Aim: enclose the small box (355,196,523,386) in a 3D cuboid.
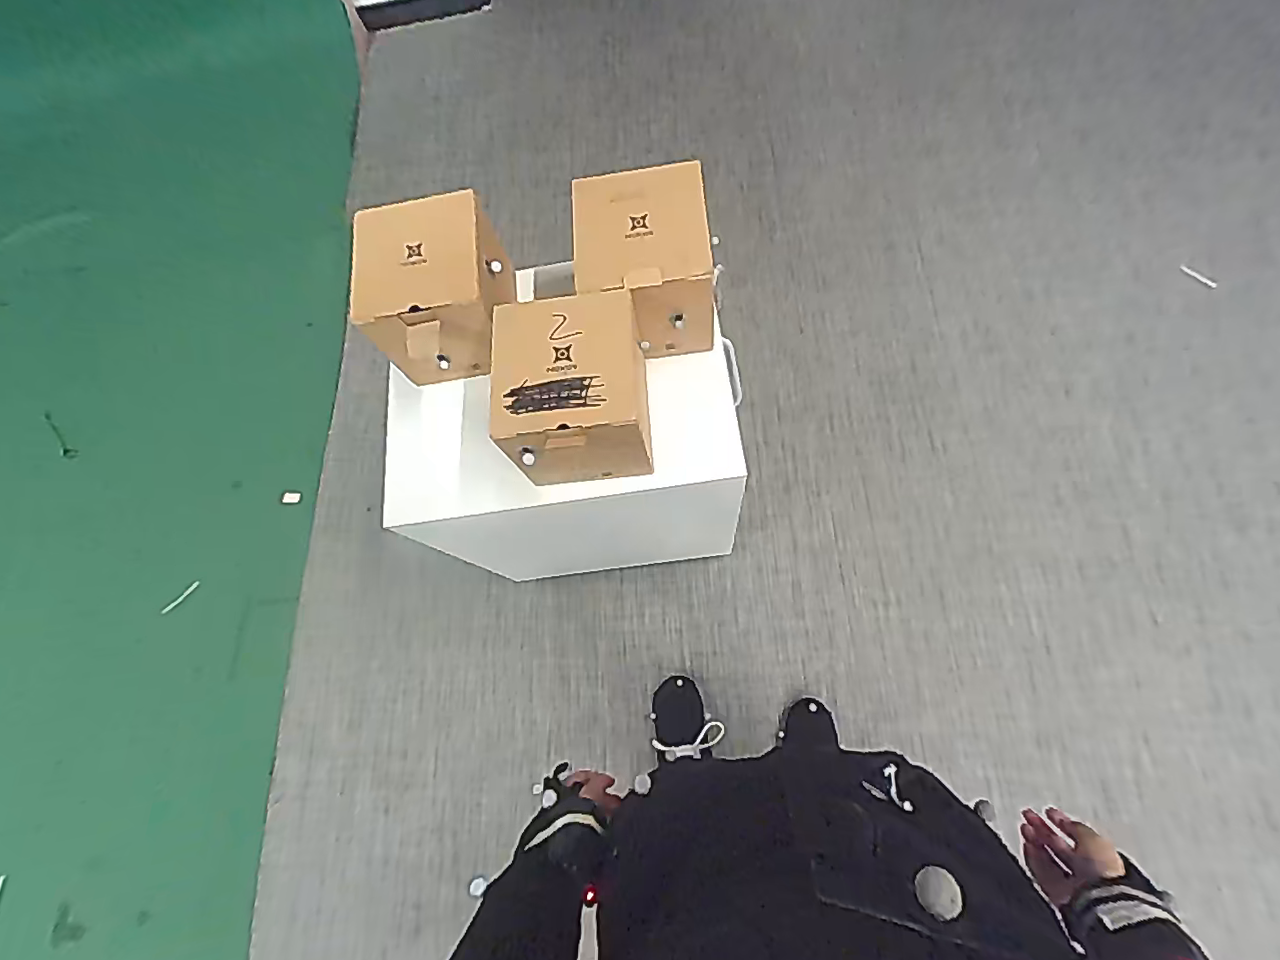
[{"bbox_3d":[-0.270,-0.256,0.761,0.168,0.176,0.179,-9,72,4],"label":"small box"}]
